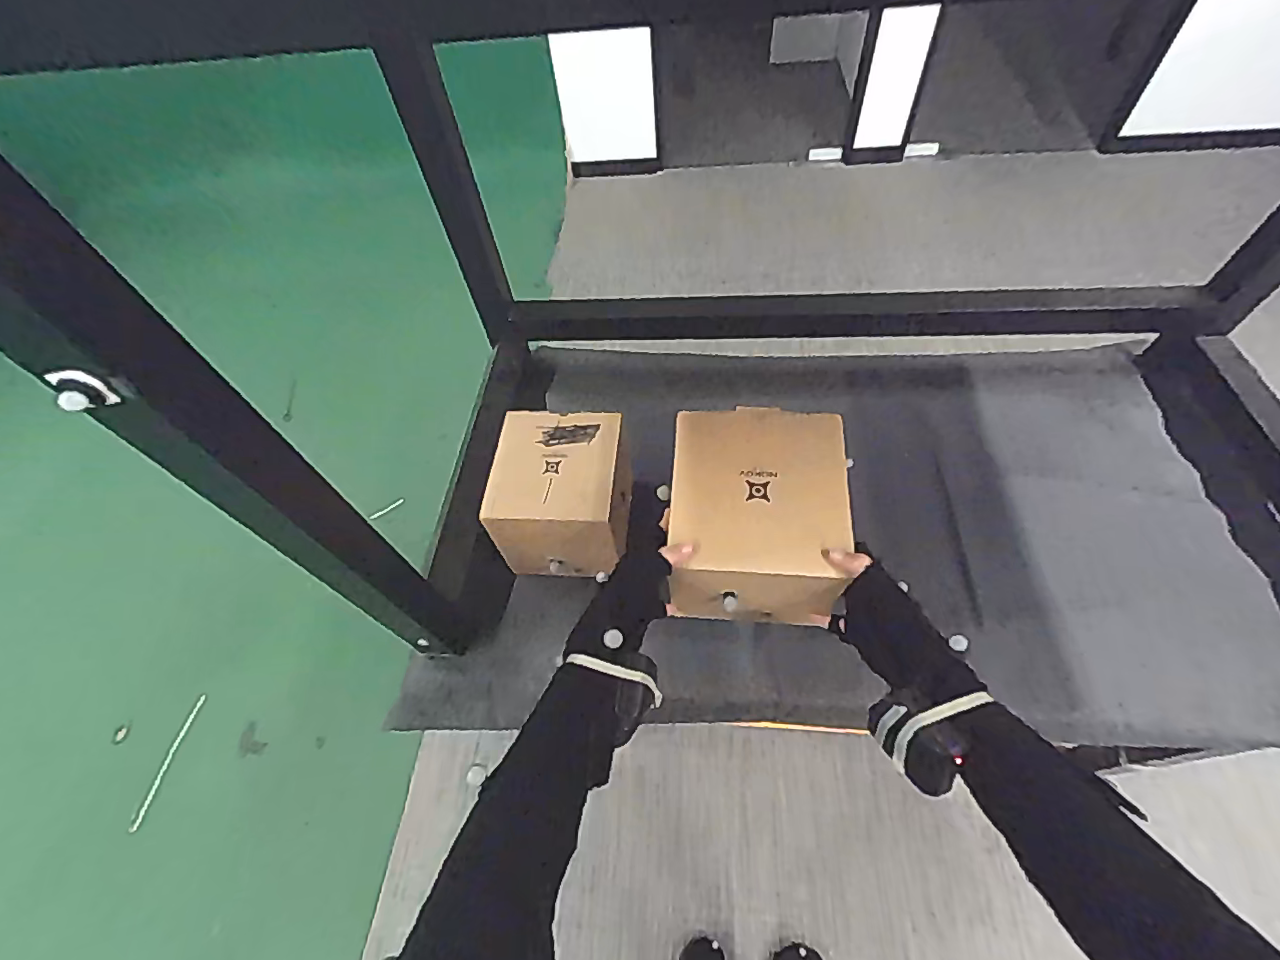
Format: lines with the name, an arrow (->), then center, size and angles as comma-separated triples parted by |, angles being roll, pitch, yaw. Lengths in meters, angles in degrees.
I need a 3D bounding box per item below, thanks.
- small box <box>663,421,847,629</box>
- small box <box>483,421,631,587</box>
small box -> 0.119, 0.054, 0.591 | 0.168, 0.176, 0.179 | 2, 59, 8
small box -> -0.105, 0.036, 0.781 | 0.168, 0.176, 0.179 | 1, 55, 6
